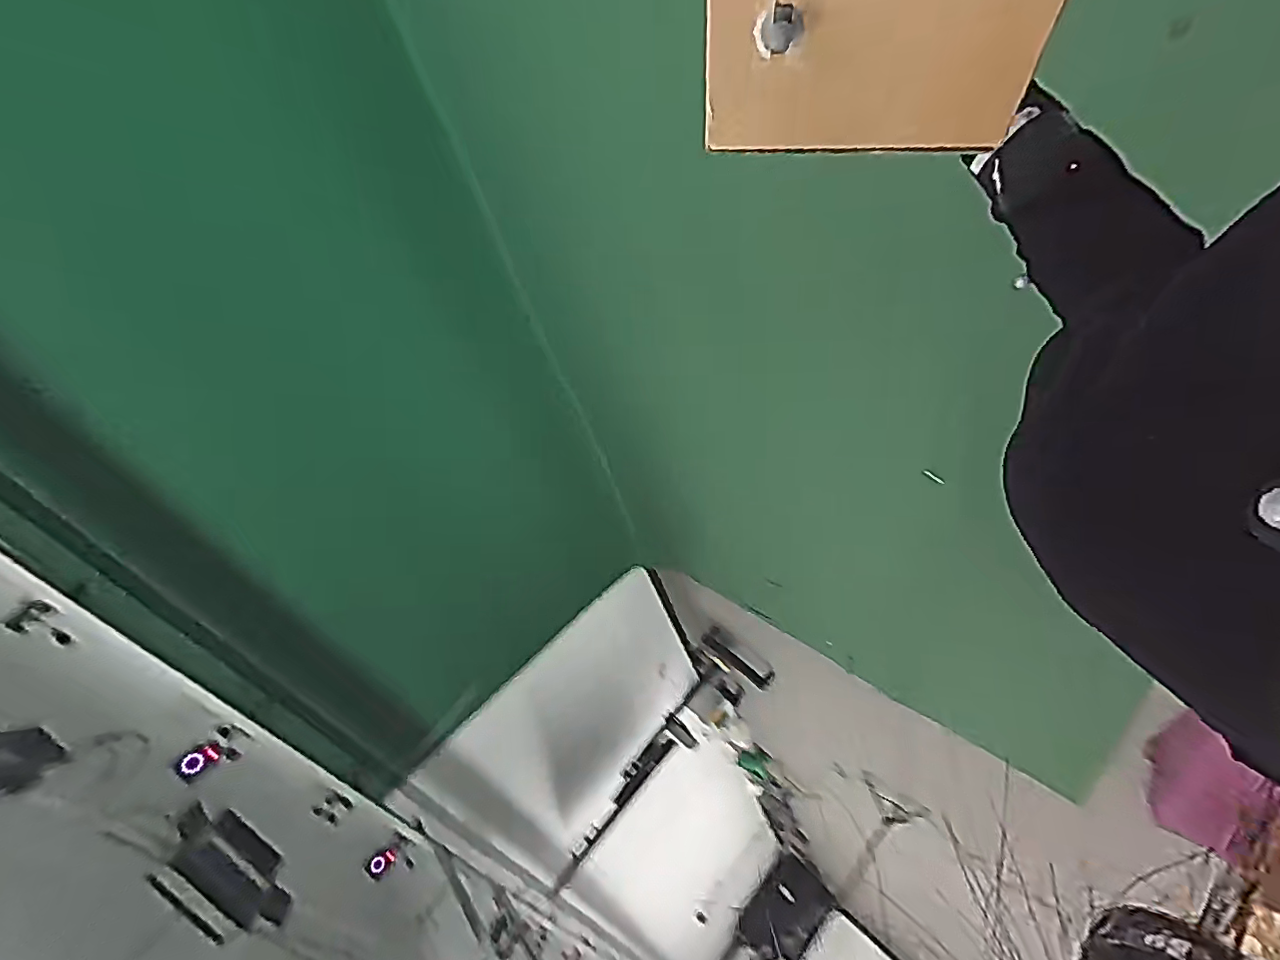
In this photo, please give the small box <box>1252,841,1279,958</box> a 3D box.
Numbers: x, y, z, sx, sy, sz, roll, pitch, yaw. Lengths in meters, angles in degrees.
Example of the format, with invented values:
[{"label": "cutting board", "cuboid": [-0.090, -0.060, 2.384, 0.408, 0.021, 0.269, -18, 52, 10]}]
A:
[{"label": "small box", "cuboid": [1.107, 0.682, 0.839, 0.168, 0.176, 0.179, 18, 140, 48]}]
